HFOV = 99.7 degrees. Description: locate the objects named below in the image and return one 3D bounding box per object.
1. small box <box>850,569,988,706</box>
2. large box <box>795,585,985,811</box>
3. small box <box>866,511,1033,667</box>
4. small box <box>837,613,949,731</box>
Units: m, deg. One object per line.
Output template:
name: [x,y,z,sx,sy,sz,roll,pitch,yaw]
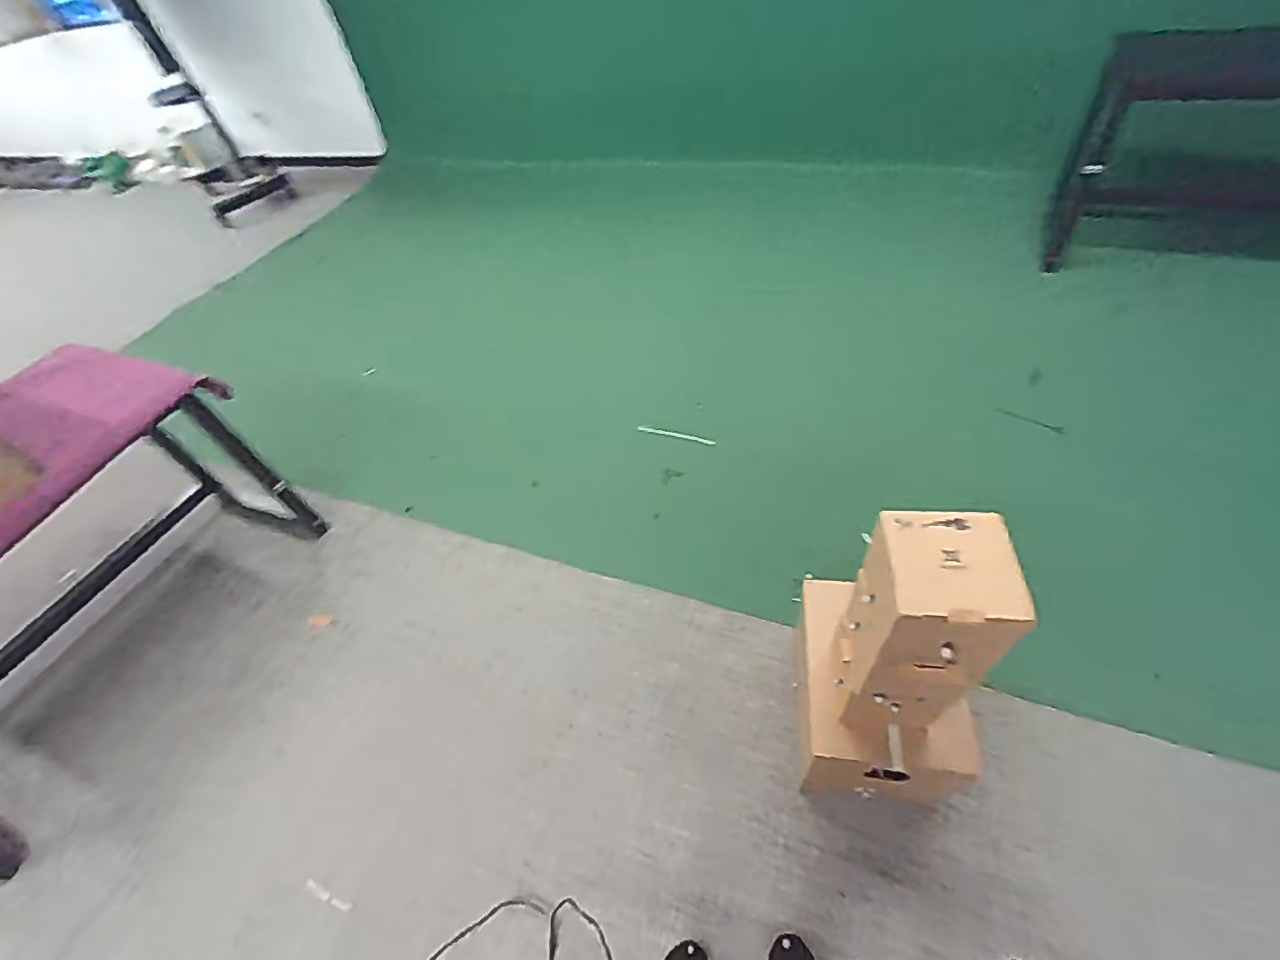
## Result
small box: [0.467,0.275,0.936,0.168,0.176,0.179,1,50,11]
large box: [0.541,0.505,1.268,0.320,0.320,0.408,2,49,11]
small box: [0.447,0.166,0.814,0.168,0.176,0.179,1,51,12]
small box: [0.488,0.378,1.061,0.179,0.176,0.168,2,50,12]
